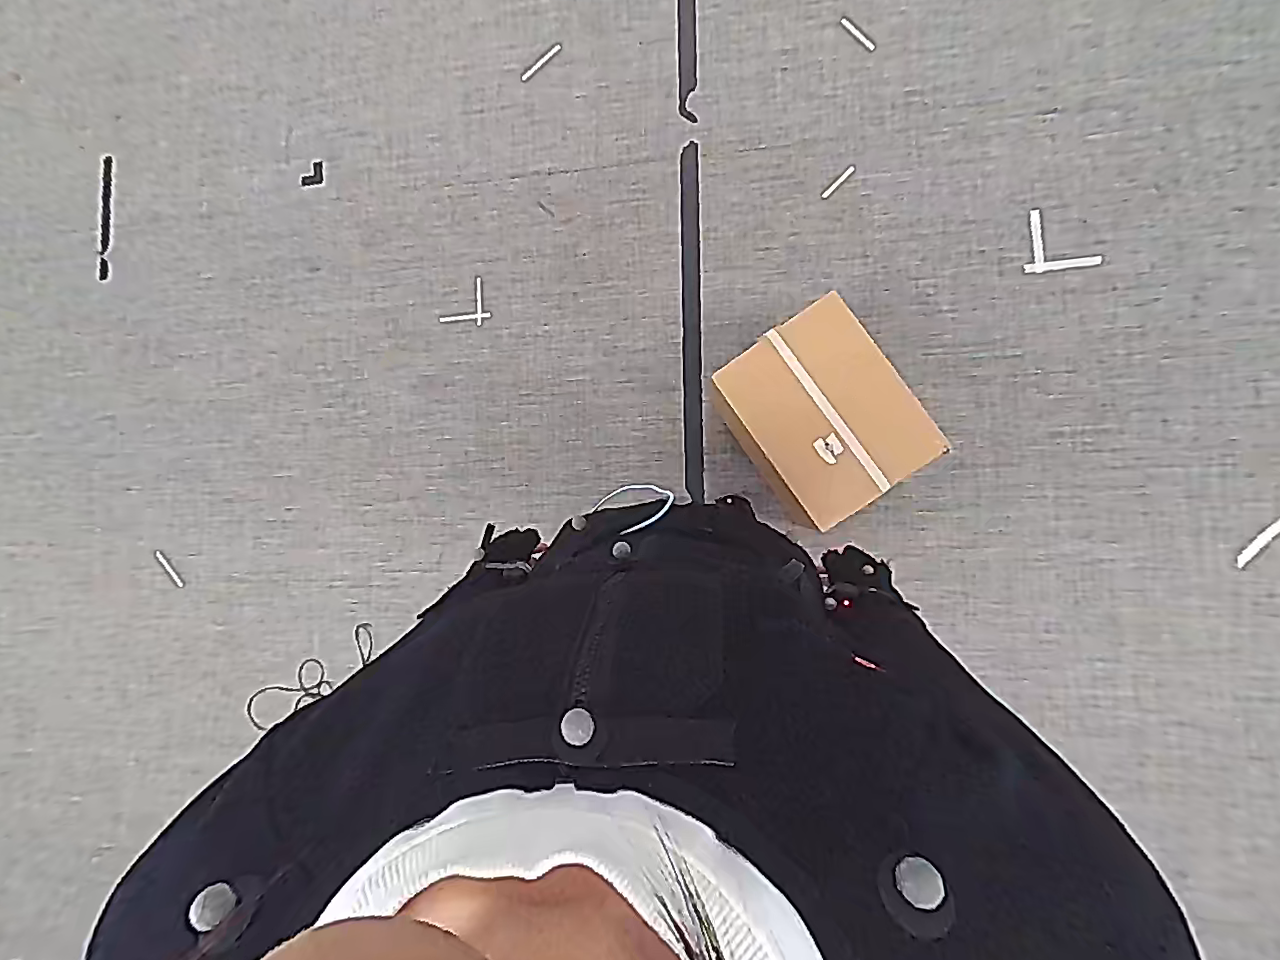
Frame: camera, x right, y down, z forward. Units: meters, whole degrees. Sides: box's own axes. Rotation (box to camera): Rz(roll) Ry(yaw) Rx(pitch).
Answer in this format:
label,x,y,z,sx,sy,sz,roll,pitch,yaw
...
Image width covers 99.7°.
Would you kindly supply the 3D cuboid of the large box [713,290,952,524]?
label,x,y,z,sx,sy,sz,roll,pitch,yaw
large box,0.410,-0.150,1.265,0.320,0.320,0.408,-35,85,6
